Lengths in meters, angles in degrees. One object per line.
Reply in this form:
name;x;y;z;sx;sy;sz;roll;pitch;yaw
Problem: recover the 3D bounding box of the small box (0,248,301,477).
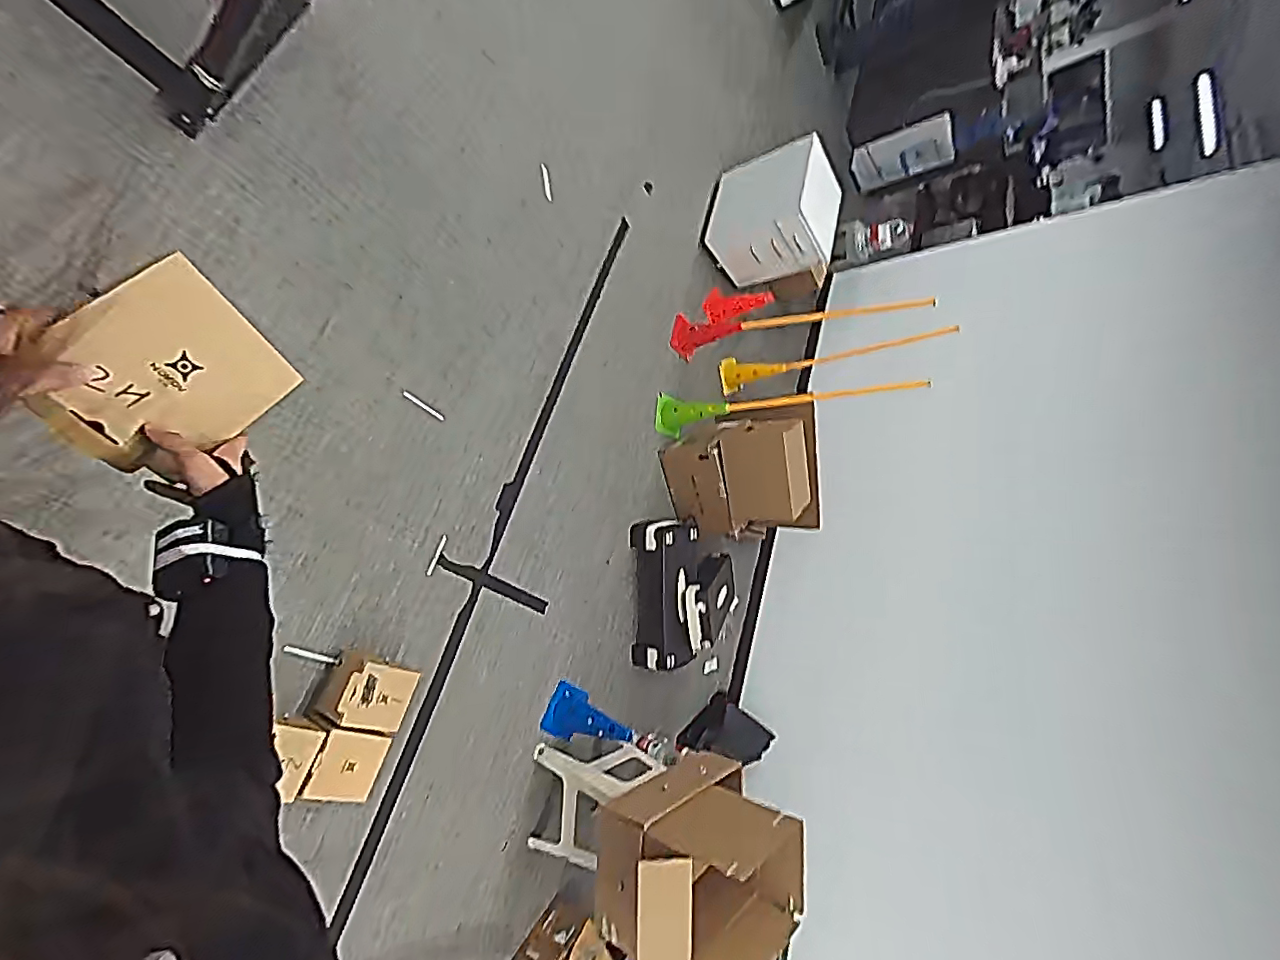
small box;-0.535;-0.131;0.596;0.179;0.176;0.168;-55;137;-27
